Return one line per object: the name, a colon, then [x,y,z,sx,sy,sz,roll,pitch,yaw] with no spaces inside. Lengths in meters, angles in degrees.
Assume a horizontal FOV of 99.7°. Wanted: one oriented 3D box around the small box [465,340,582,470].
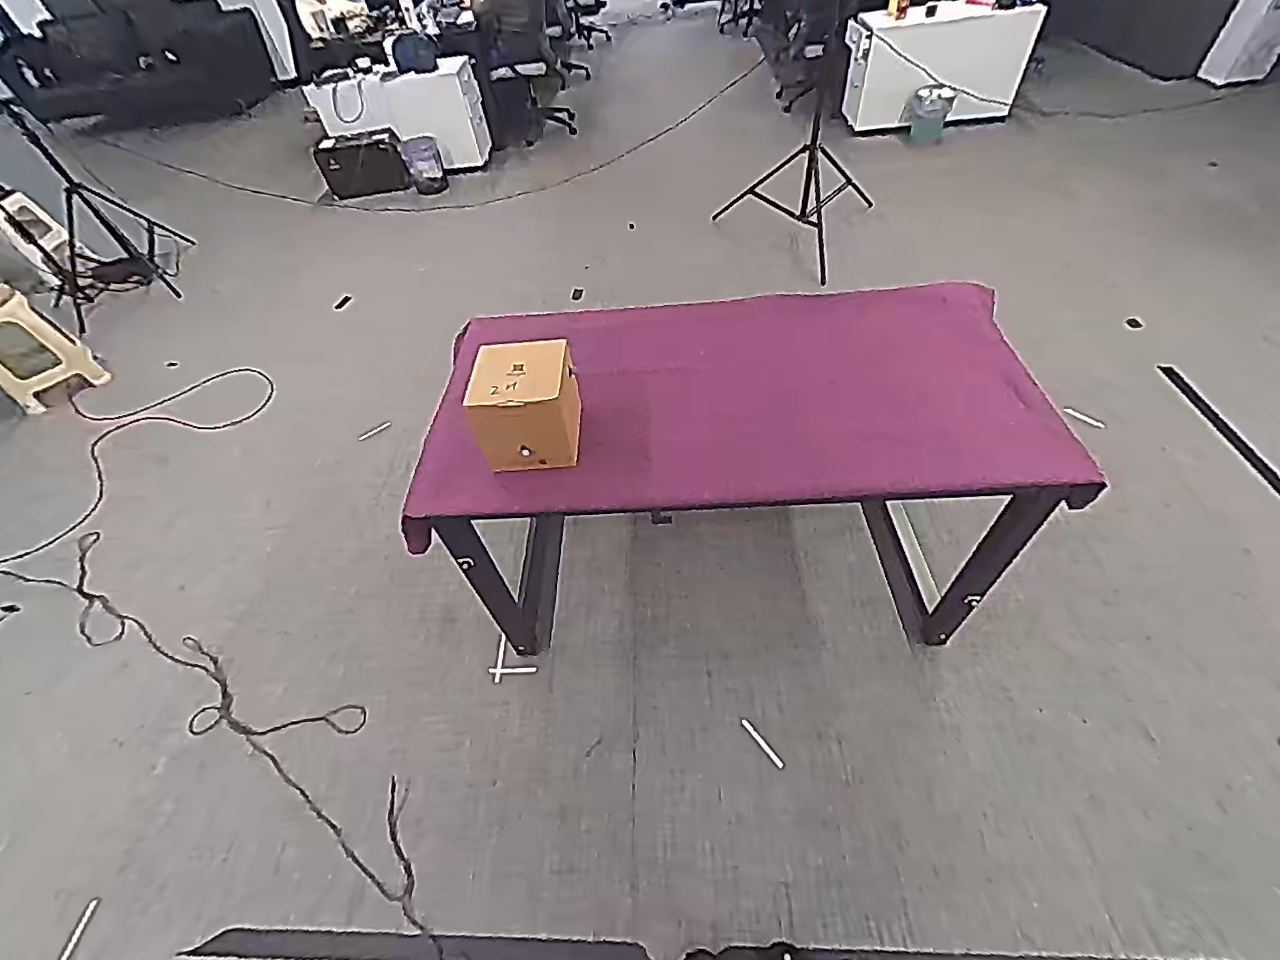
small box: [-0.207,-0.140,1.017,0.168,0.176,0.179,-4,49,4]
